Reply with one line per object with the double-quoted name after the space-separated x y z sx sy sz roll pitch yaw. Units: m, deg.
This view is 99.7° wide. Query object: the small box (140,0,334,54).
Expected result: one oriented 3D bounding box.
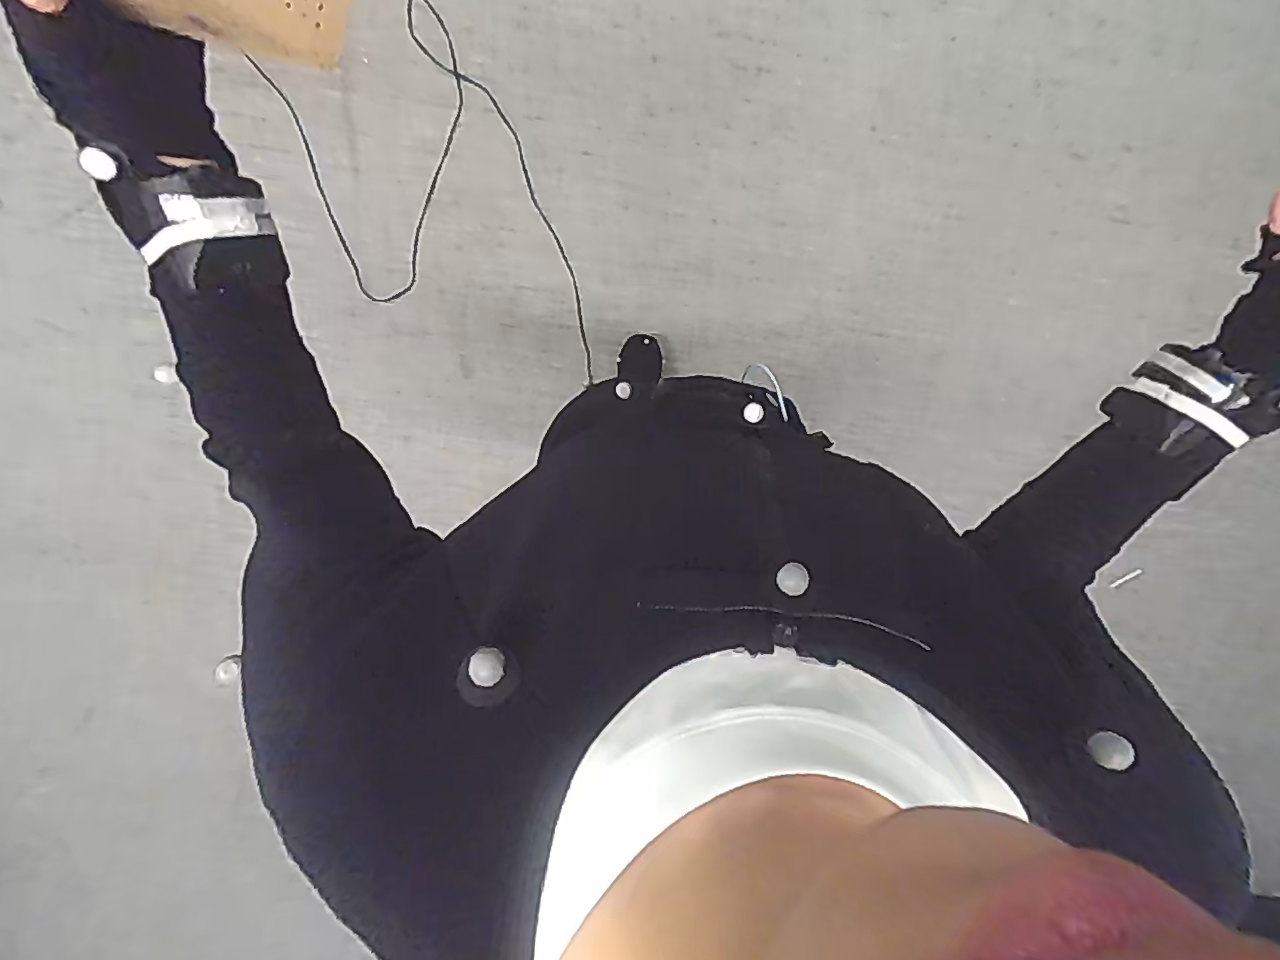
-0.198 -0.277 0.151 0.168 0.176 0.179 26 106 14 "small box"
